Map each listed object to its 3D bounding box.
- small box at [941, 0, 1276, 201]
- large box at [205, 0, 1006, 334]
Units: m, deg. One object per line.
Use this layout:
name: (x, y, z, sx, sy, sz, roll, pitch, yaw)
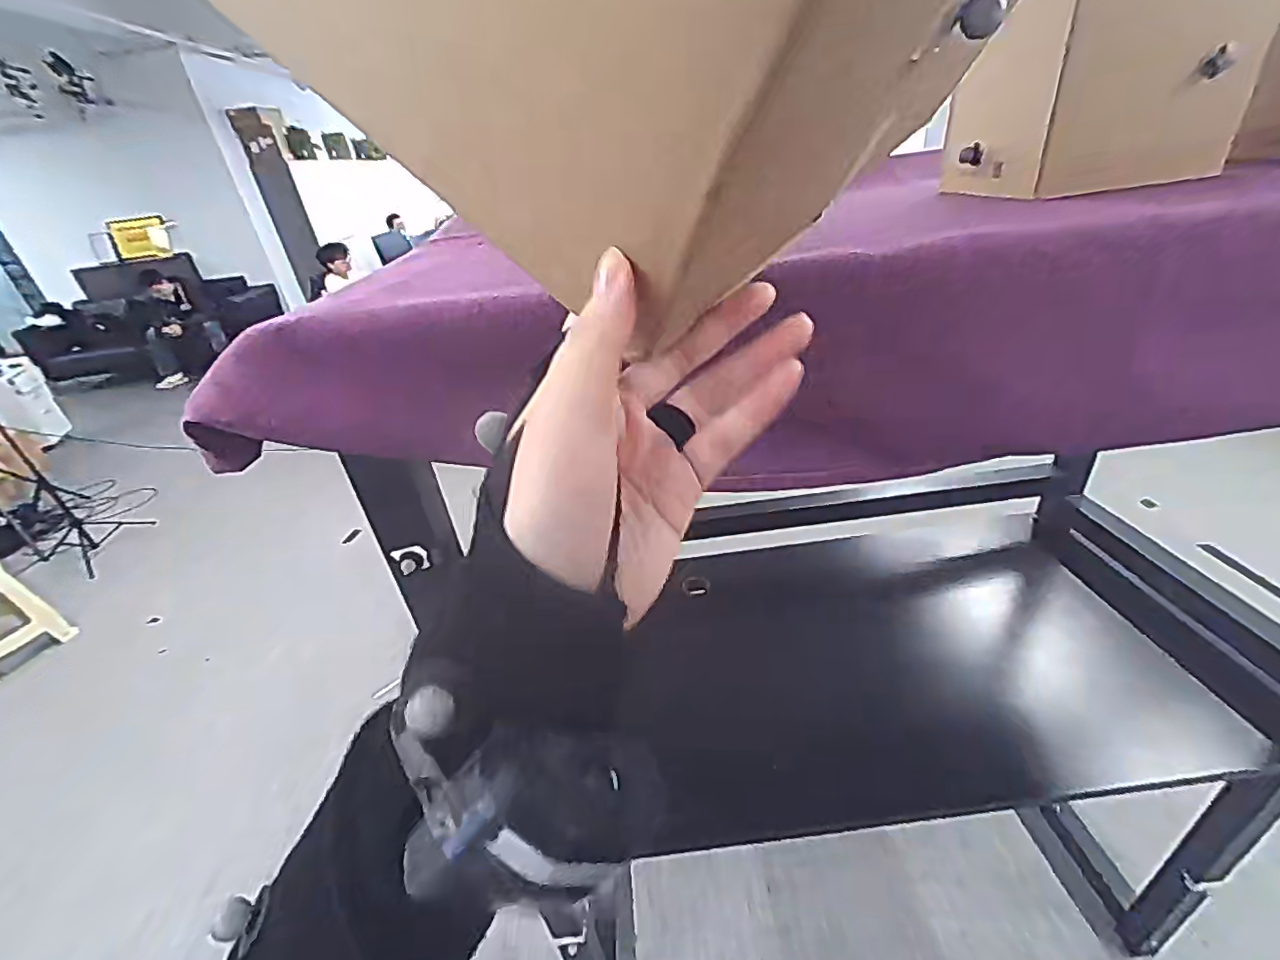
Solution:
small box: (0.424, -0.377, 0.518, 0.179, 0.176, 0.168, -8, 30, 0)
large box: (-0.020, -0.330, 0.167, 0.408, 0.320, 0.320, 40, 59, 8)
